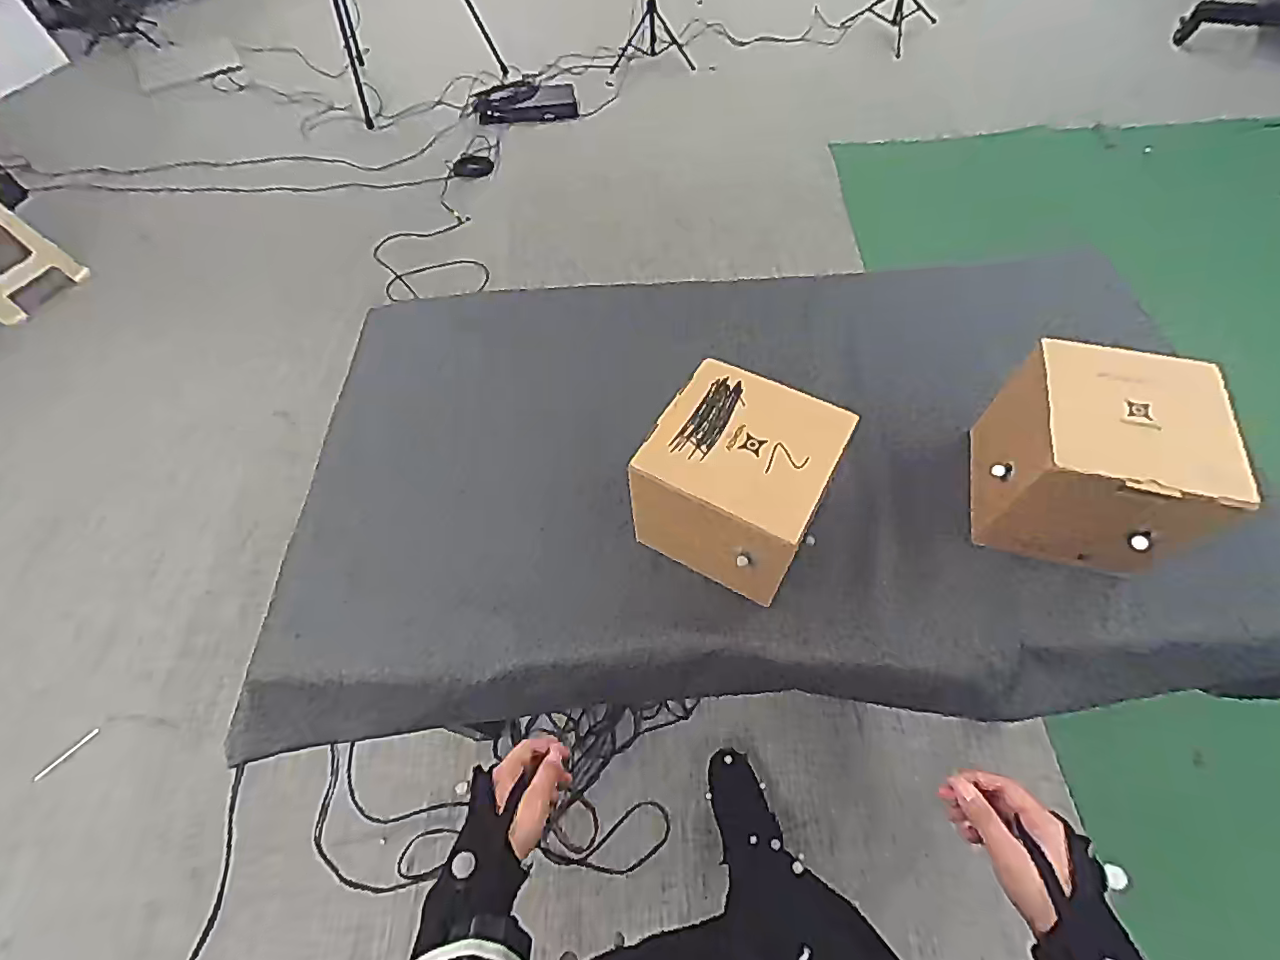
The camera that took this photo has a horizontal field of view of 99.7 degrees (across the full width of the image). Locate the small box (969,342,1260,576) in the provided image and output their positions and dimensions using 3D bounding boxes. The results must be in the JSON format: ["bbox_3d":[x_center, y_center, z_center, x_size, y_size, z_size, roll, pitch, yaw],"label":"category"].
[{"bbox_3d":[0.482,-0.018,0.587,0.168,0.176,0.179,13,58,11],"label":"small box"}]
